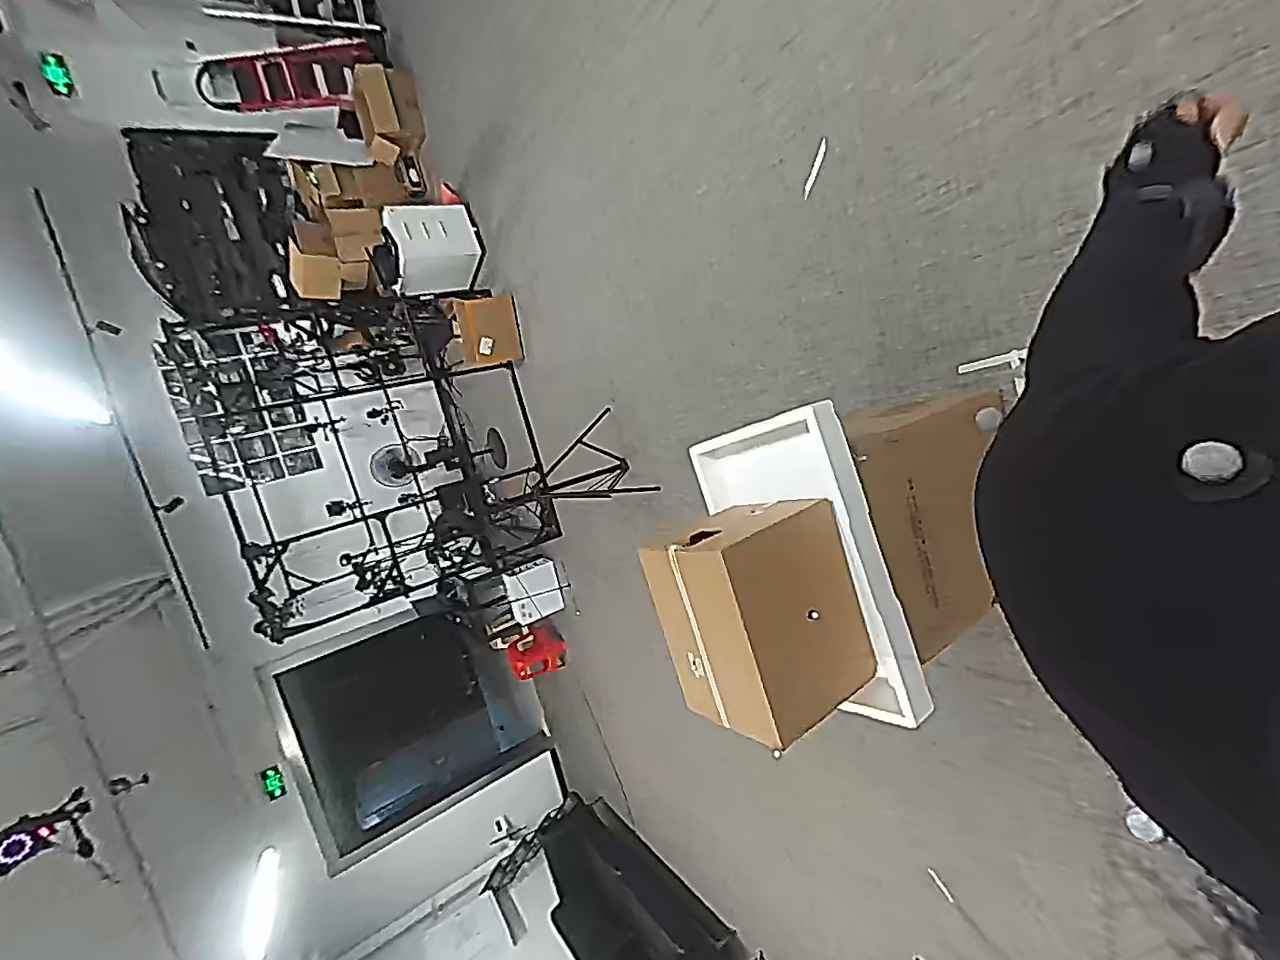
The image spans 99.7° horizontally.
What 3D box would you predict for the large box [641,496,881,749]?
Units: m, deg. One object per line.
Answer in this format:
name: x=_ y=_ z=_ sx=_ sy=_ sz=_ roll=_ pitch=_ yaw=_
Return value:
large box: x=0.260 y=0.280 z=1.188 sx=0.320 sy=0.320 sz=0.408 roll=-11 pitch=99 yaw=61
